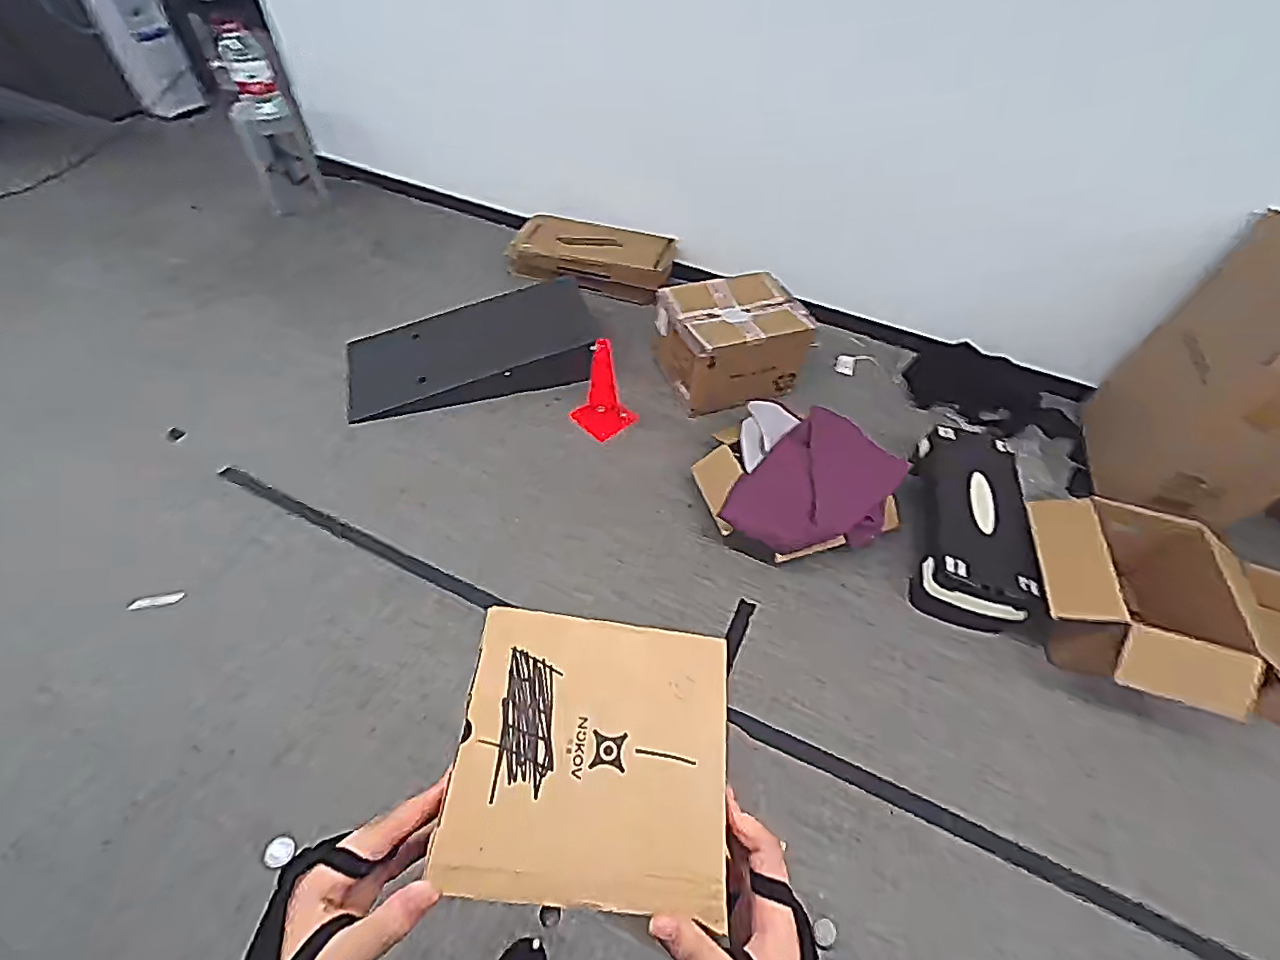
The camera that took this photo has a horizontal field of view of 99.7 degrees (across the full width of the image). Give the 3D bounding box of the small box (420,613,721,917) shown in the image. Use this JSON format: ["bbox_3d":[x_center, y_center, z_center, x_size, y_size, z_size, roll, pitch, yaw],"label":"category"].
[{"bbox_3d":[-0.044,0.217,0.417,0.179,0.176,0.168,8,57,-5],"label":"small box"}]

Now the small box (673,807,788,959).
[{"bbox_3d":[0.153,0.742,1.009,0.168,0.176,0.179,23,53,15],"label":"small box"}]
